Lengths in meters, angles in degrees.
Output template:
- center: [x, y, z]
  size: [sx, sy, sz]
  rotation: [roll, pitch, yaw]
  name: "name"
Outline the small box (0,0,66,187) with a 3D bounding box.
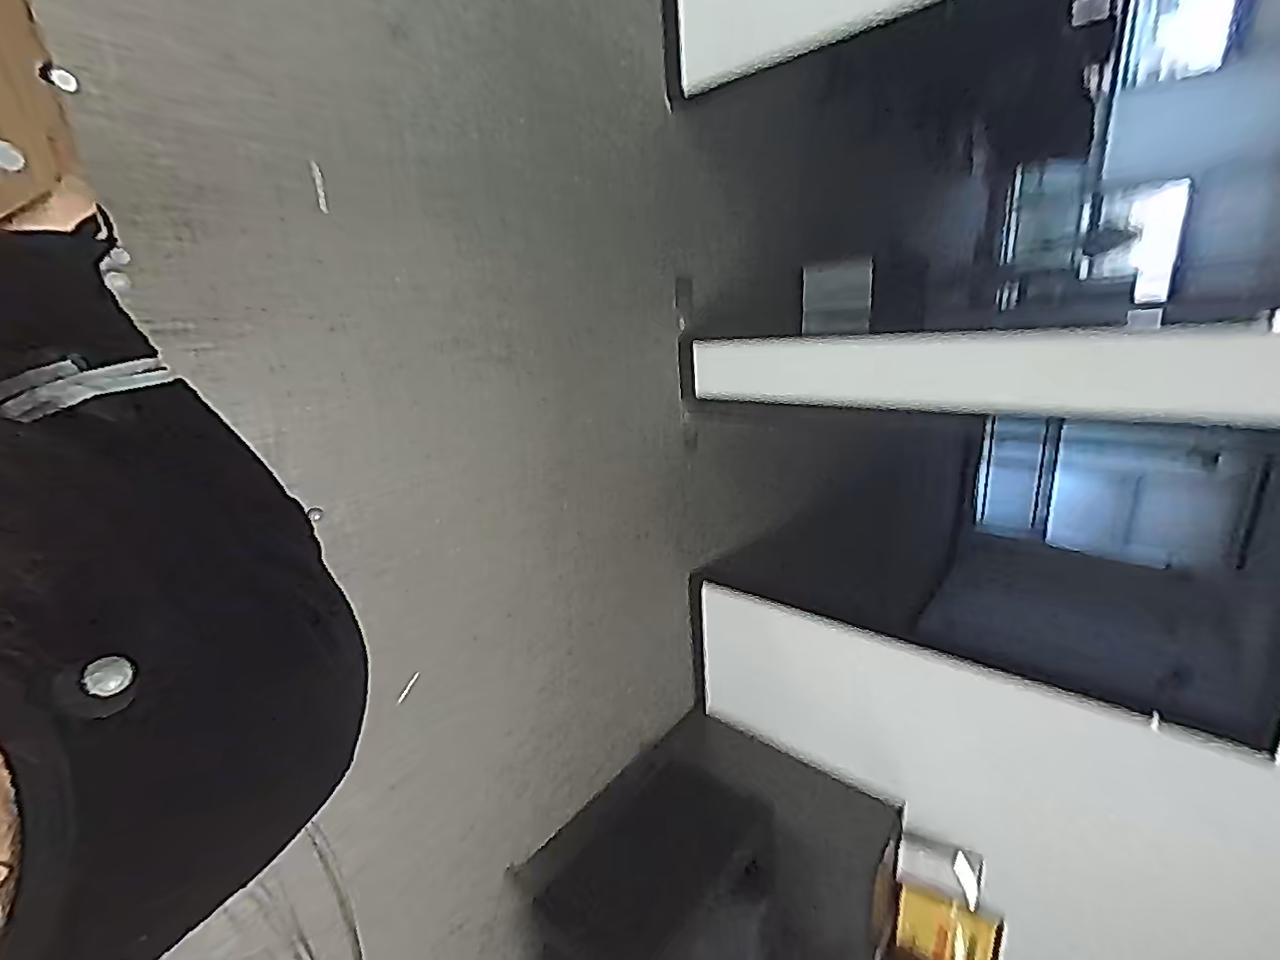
- center: [-0.514, -0.289, 0.328]
  size: [0.179, 0.176, 0.168]
  rotation: [-11, 128, -30]
  name: "small box"
